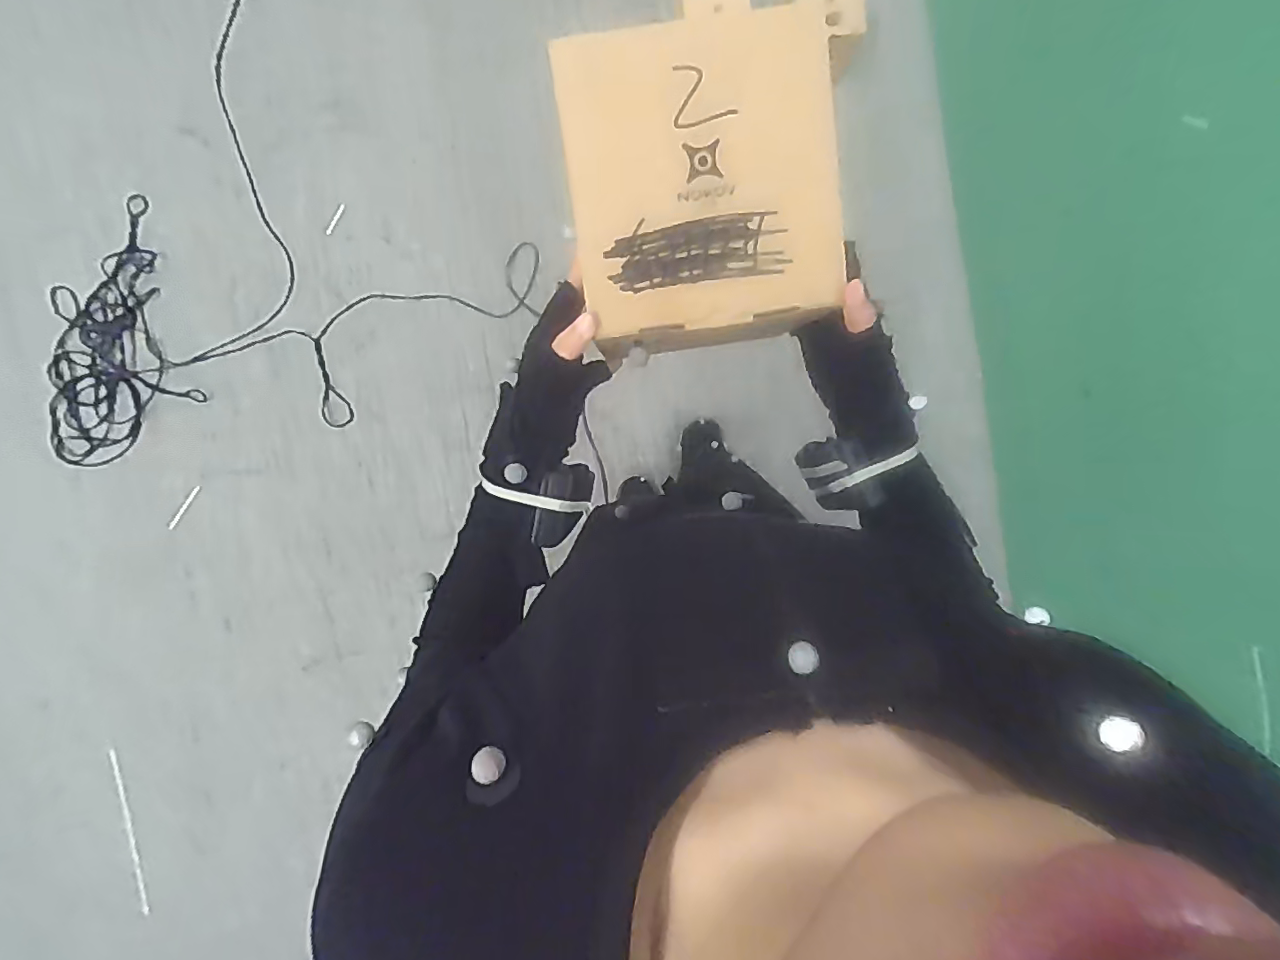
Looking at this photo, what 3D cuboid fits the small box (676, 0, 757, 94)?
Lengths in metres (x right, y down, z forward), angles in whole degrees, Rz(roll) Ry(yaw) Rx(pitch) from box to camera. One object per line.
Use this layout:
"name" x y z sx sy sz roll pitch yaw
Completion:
"small box" 0.187 -1.129 1.370 0.168 0.176 0.179 -7 92 -1

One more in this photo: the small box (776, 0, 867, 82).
"small box" 0.456 -1.152 1.374 0.168 0.176 0.179 -7 91 -1
